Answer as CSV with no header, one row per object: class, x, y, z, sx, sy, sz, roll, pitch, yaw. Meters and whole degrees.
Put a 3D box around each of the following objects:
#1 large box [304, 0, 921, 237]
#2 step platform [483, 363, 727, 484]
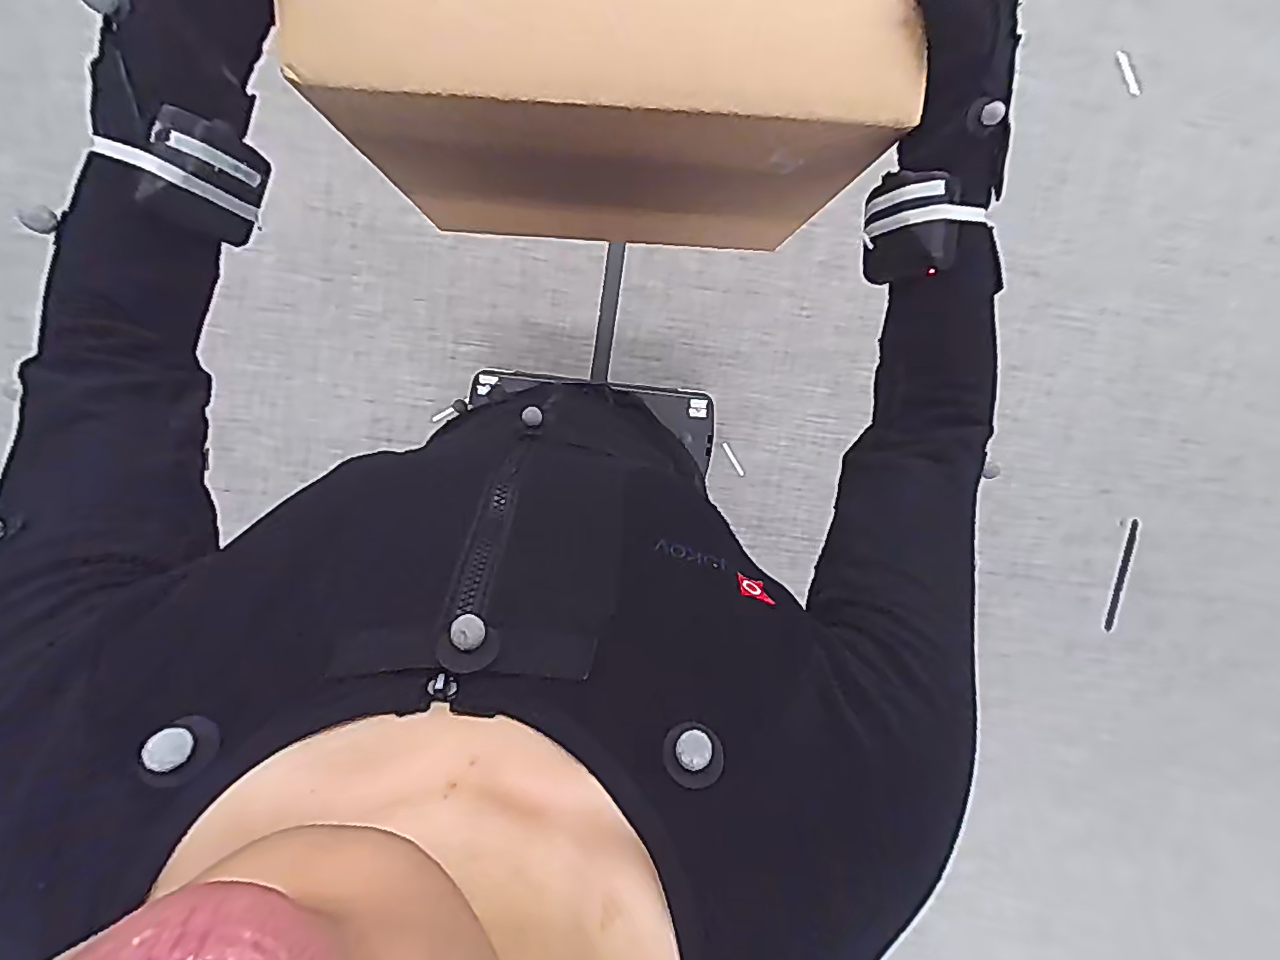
large box,-0.020,-0.425,0.479,0.408,0.320,0.320,1,100,-4
step platform,-0.097,-0.161,1.553,0.684,0.204,0.286,5,100,-5
